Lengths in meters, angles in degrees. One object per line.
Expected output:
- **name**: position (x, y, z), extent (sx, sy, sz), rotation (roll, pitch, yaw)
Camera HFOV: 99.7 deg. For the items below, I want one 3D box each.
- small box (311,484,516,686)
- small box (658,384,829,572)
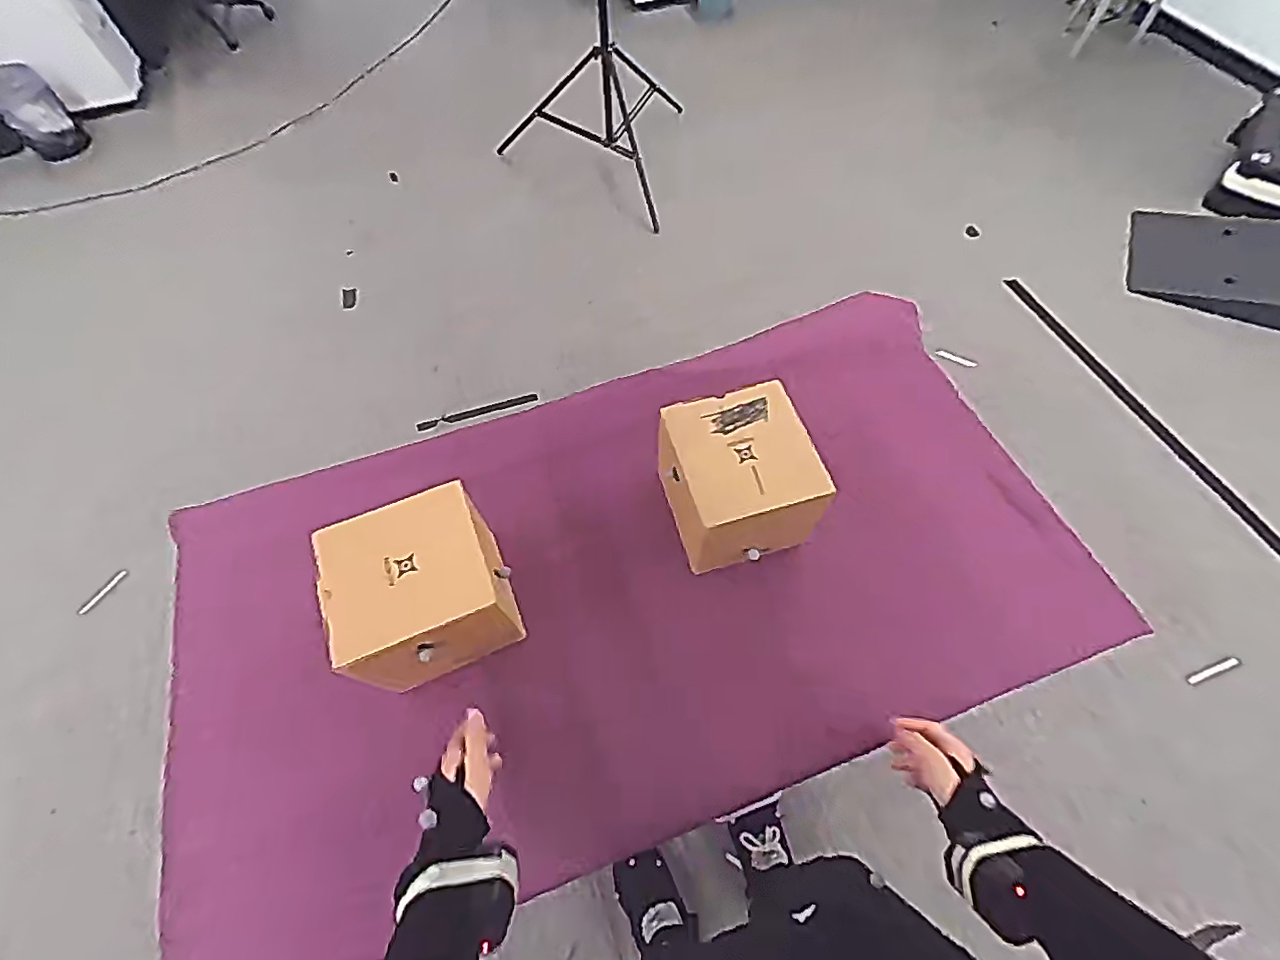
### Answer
- **small box**: position (-0.265, 0.136, 0.670), extent (0.179, 0.176, 0.168), rotation (-22, 64, -10)
- **small box**: position (0.123, 0.003, 0.733), extent (0.168, 0.176, 0.179), rotation (-15, 63, -6)
